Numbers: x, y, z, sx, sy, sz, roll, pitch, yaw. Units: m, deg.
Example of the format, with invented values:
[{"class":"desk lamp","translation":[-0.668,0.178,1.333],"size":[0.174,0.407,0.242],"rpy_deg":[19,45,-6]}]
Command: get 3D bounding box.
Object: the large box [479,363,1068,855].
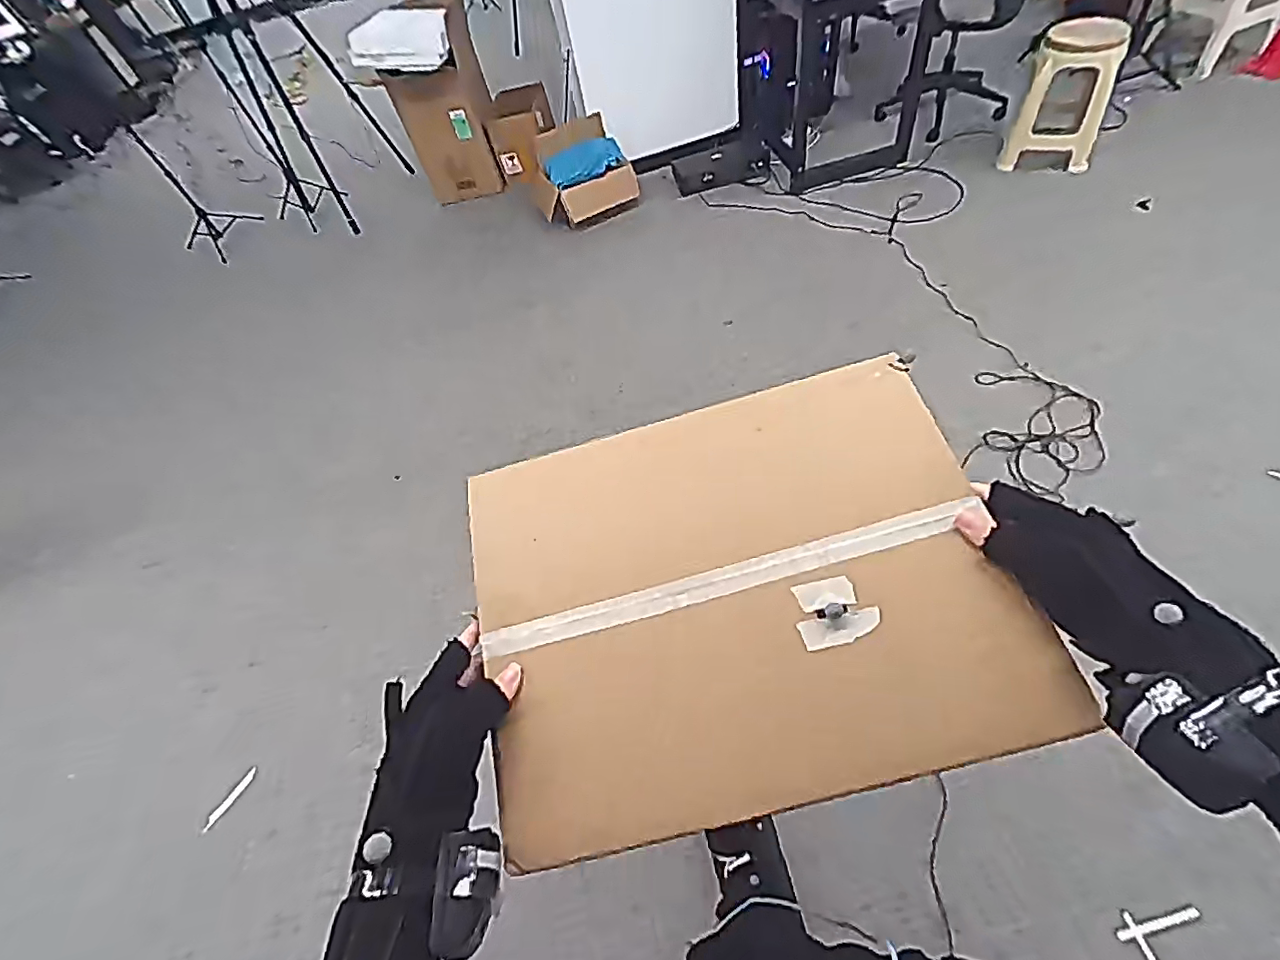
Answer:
[{"class":"large box","translation":[0.094,0.142,0.574],"size":[0.408,0.320,0.320],"rpy_deg":[-17,64,3]}]
